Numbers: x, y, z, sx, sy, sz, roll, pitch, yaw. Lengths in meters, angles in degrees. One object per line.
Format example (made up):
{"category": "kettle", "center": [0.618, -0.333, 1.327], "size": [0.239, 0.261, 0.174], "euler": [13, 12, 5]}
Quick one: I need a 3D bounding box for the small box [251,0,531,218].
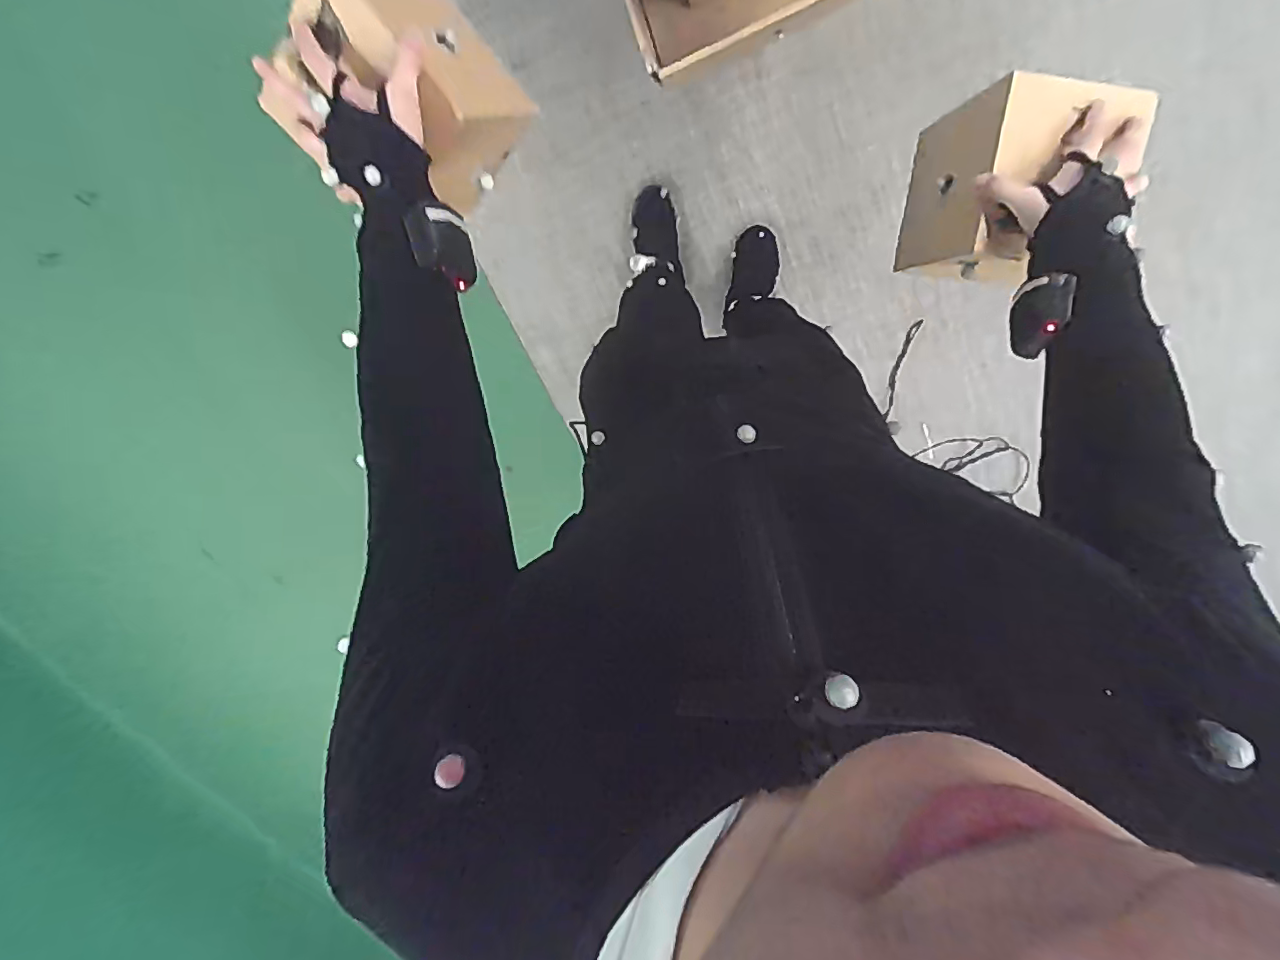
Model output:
{"category": "small box", "center": [-0.253, -0.420, 0.578], "size": [0.168, 0.176, 0.179], "euler": [-32, 110, 35]}
